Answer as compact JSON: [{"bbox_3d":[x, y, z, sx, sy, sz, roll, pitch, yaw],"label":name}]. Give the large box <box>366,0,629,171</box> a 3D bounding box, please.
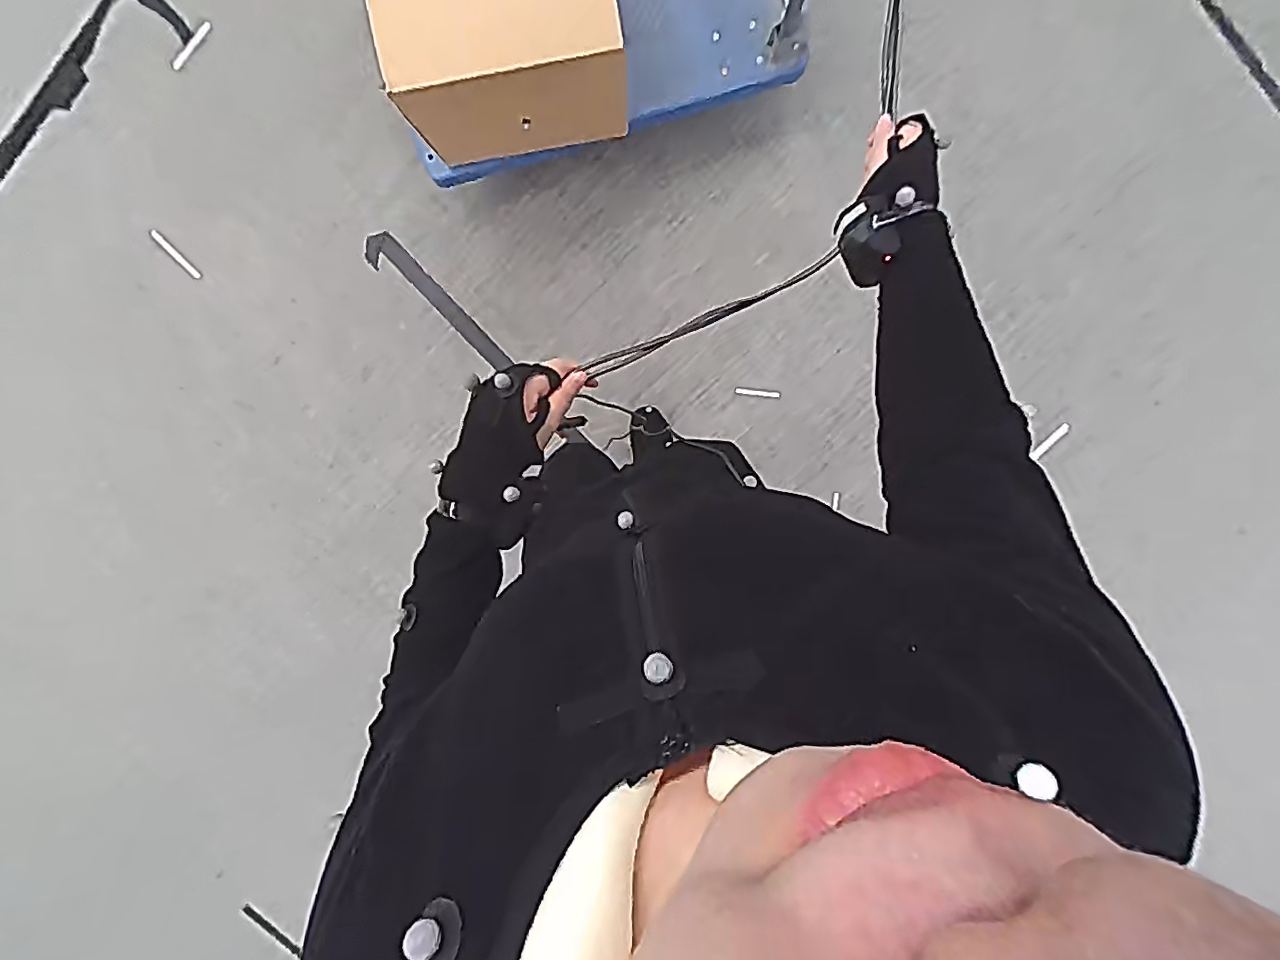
[{"bbox_3d":[-0.246,-0.832,1.013,0.408,0.320,0.320,-10,99,2],"label":"large box"}]
